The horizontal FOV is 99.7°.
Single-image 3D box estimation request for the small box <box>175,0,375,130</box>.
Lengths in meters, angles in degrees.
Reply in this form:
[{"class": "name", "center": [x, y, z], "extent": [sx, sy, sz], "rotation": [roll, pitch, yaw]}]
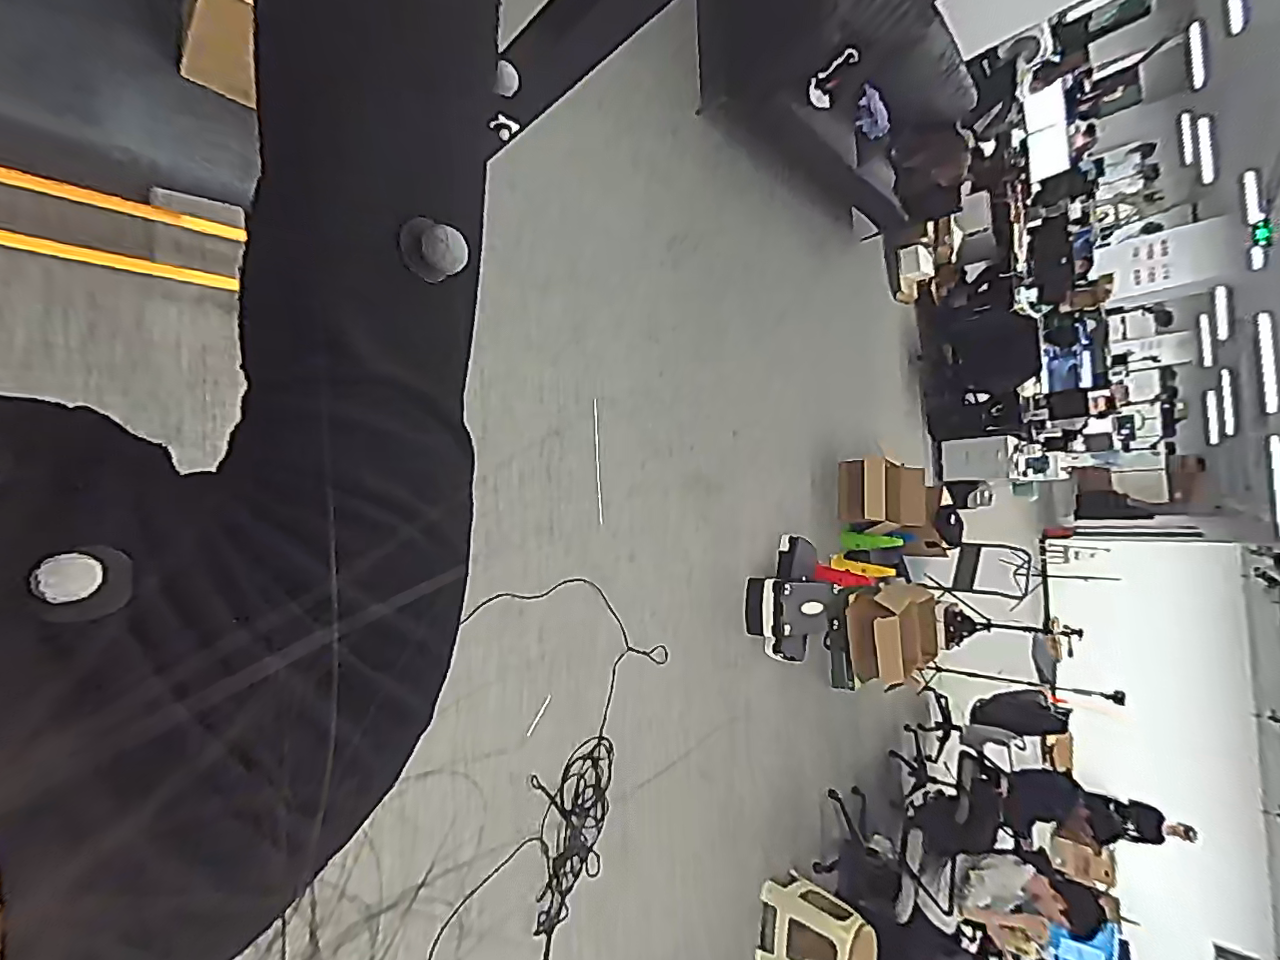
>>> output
[{"class": "small box", "center": [-0.432, -0.568, 0.643], "extent": [0.168, 0.176, 0.179], "rotation": [4, 83, -47]}]
